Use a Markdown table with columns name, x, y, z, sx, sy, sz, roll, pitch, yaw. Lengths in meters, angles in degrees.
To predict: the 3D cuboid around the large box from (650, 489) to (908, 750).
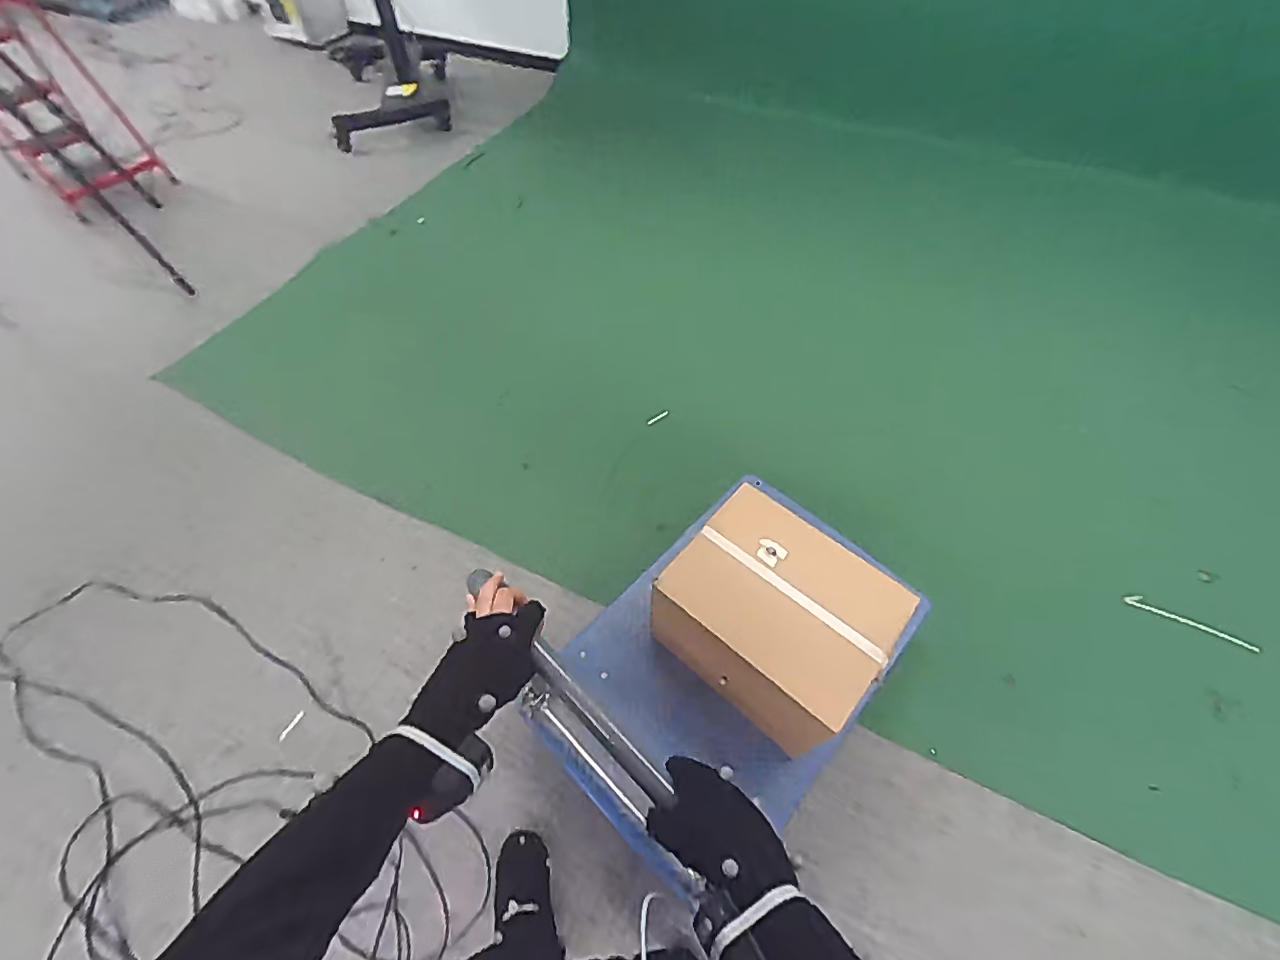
| name | x | y | z | sx | sy | sz | roll | pitch | yaw |
| --- | --- | --- | --- | --- | --- | --- | --- | --- | --- |
| large box | 0.270 | 0.300 | 1.163 | 0.408 | 0.320 | 0.320 | 35 | 63 | 22 |
